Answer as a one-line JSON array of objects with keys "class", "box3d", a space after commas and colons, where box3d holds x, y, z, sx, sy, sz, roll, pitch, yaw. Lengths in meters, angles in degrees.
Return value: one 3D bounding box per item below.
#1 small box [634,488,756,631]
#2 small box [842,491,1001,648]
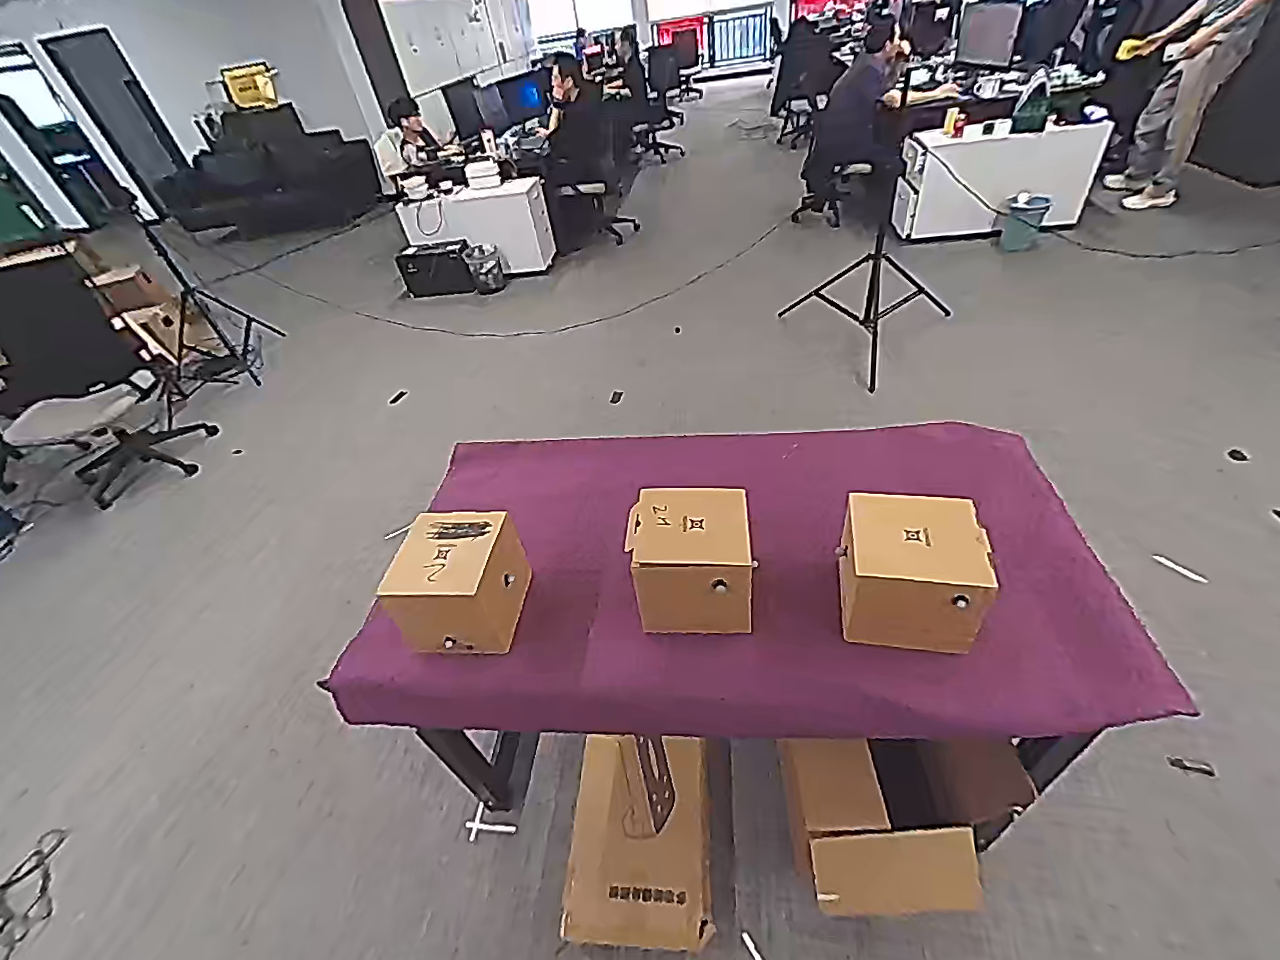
[{"class": "small box", "box3d": [0.094, 0.130, 0.882, 0.179, 0.176, 0.168, -3, 40, 9]}, {"class": "small box", "box3d": [0.406, 0.134, 0.818, 0.179, 0.176, 0.168, 3, 43, 14]}]
